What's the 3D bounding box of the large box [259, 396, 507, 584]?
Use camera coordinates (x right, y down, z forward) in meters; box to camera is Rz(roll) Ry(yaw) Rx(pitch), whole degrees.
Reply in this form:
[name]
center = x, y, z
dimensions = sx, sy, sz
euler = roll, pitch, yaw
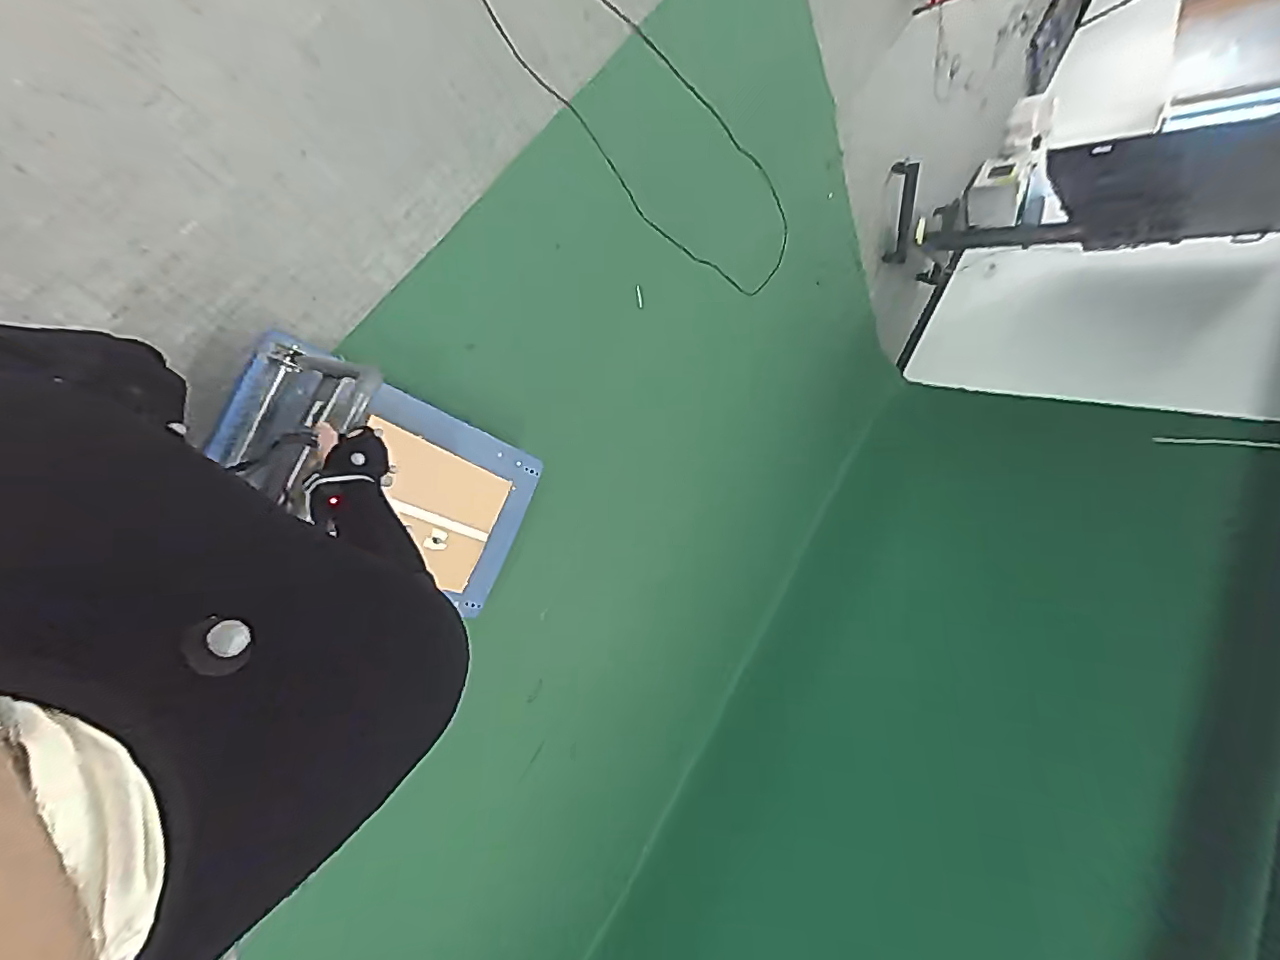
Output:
[large box]
center = -0.624, 0.028, 1.342
dimensions = 0.408, 0.320, 0.320
euler = 34, 78, -49
